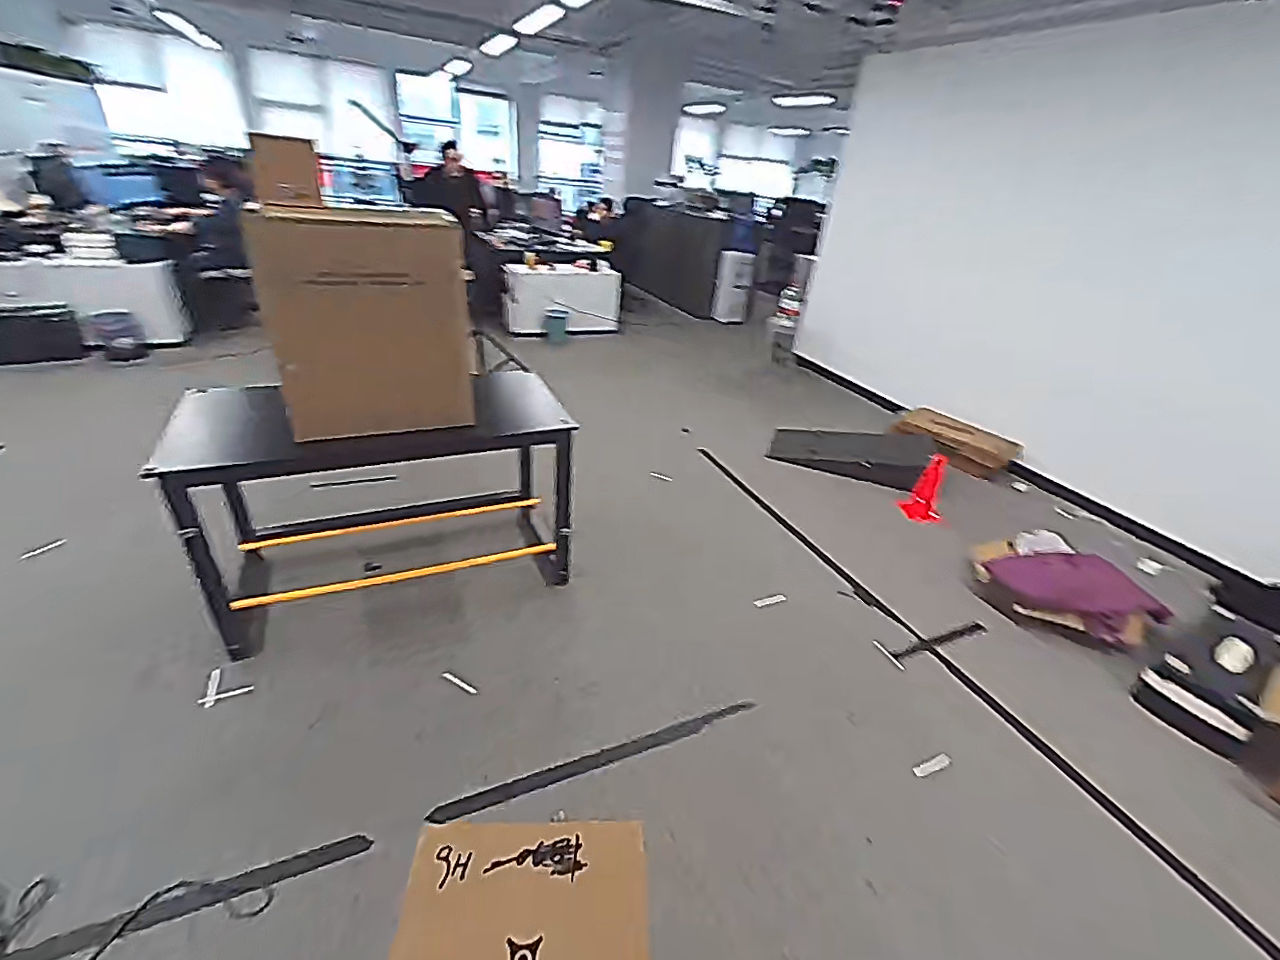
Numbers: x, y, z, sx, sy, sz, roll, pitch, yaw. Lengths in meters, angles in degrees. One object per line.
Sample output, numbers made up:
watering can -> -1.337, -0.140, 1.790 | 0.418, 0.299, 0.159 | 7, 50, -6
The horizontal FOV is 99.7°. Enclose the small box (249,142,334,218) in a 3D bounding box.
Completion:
small box -> -0.968, -0.837, 1.512 | 0.168, 0.176, 0.179 | -11, 33, -25
